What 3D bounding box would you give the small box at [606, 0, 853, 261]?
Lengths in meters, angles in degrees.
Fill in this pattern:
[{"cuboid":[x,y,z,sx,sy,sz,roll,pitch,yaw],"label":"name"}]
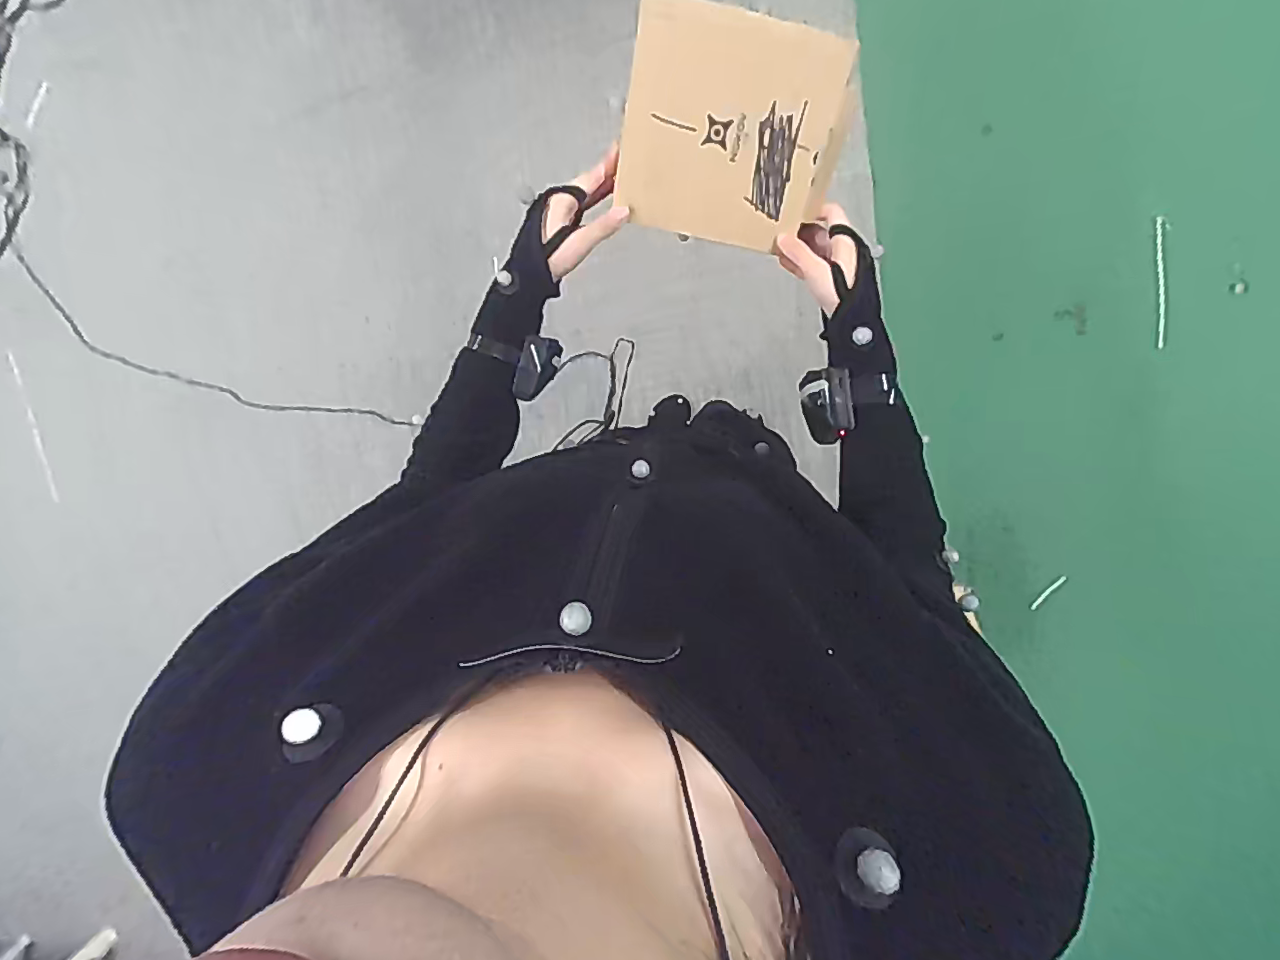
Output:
[{"cuboid":[0.068,-0.331,0.525,0.179,0.176,0.168,9,122,-7],"label":"small box"}]
